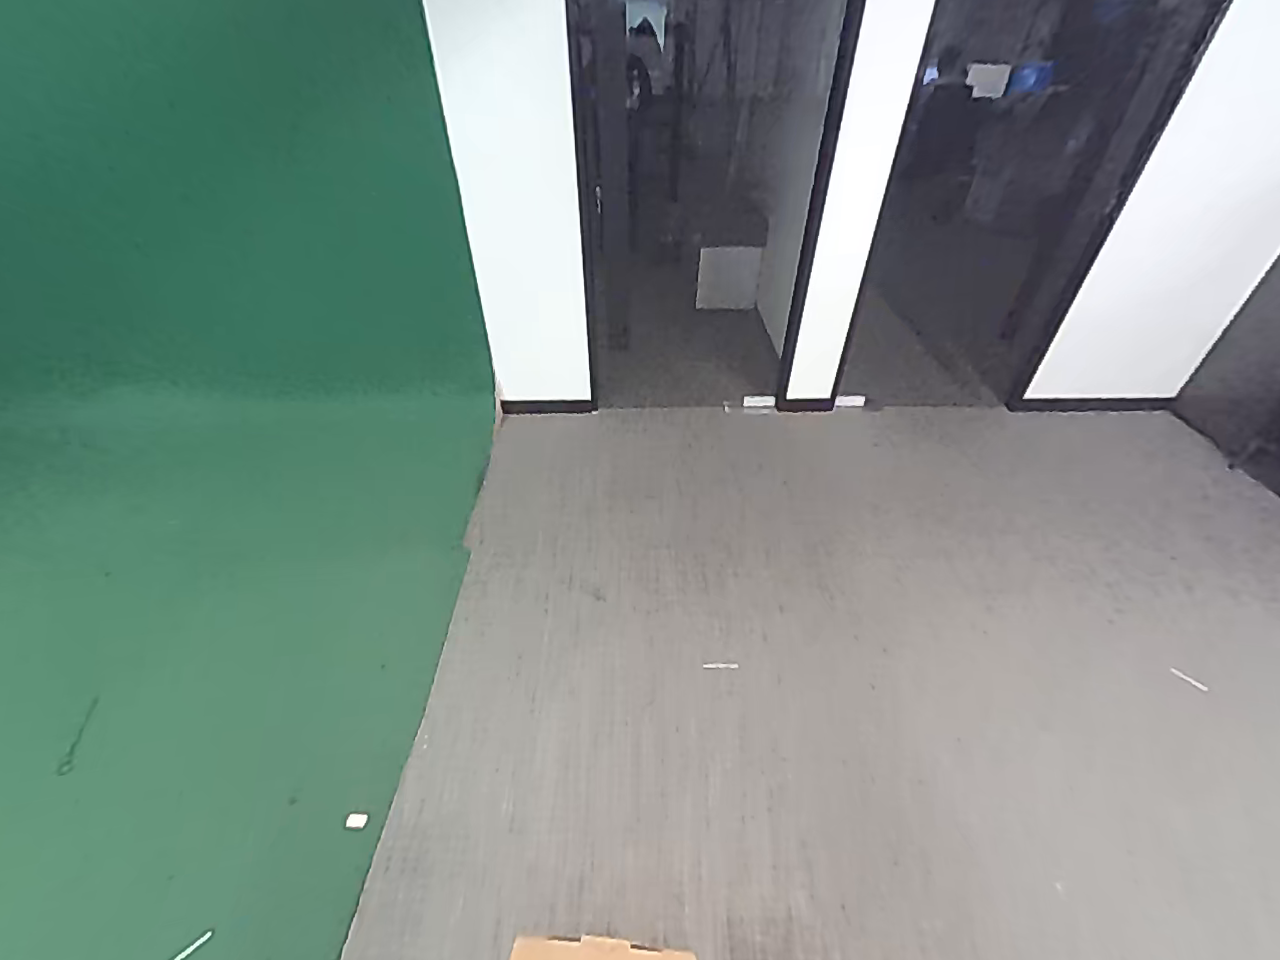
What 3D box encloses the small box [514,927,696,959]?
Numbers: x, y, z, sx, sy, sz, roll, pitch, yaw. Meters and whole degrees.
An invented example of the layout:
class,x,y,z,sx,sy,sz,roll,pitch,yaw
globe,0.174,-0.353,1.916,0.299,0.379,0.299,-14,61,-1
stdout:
class,x,y,z,sx,sy,sz,roll,pitch,yaw
small box,-0.043,0.531,0.477,0.168,0.176,0.179,6,41,1
